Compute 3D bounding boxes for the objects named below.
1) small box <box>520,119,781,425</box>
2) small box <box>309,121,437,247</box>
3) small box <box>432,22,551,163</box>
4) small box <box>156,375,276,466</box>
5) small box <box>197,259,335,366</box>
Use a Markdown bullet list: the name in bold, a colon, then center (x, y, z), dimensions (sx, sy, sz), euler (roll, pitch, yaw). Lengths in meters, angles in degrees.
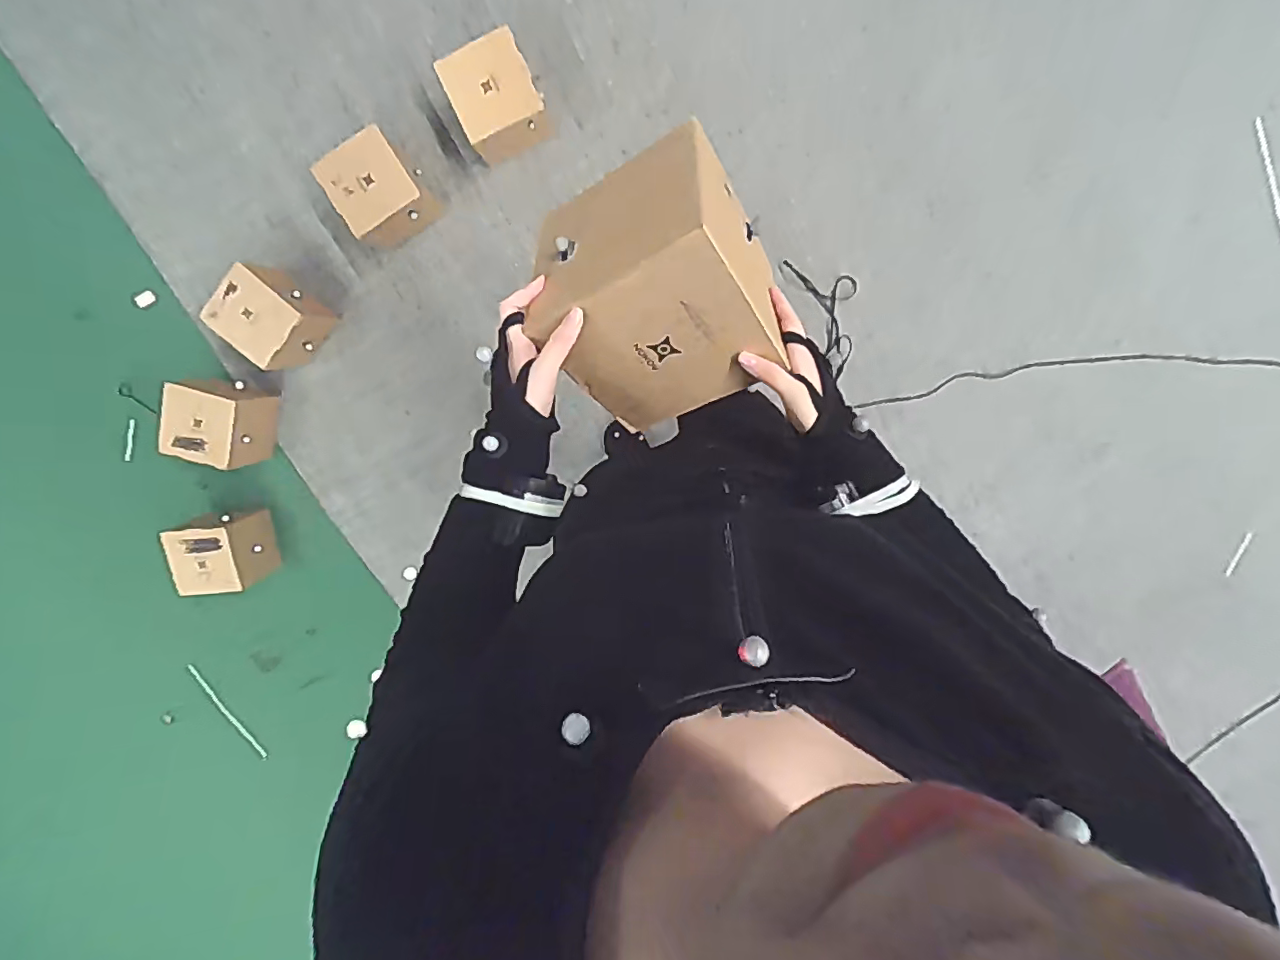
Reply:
- **small box**: center (0.015, -0.186, 0.511), dimensions (0.179, 0.176, 0.168), euler (-19, 142, 27)
- **small box**: center (-0.588, -0.660, 1.226), dimensions (0.179, 0.176, 0.168), euler (-30, 102, 6)
- **small box**: center (-0.315, -0.835, 1.189), dimensions (0.179, 0.176, 0.168), euler (-24, 103, 4)
- **small box**: center (-1.047, -0.154, 1.348), dimensions (0.168, 0.176, 0.179), euler (16, 102, -4)
- **small box**: center (-0.879, -0.395, 1.290), dimensions (0.179, 0.176, 0.168), euler (42, 100, -10)
